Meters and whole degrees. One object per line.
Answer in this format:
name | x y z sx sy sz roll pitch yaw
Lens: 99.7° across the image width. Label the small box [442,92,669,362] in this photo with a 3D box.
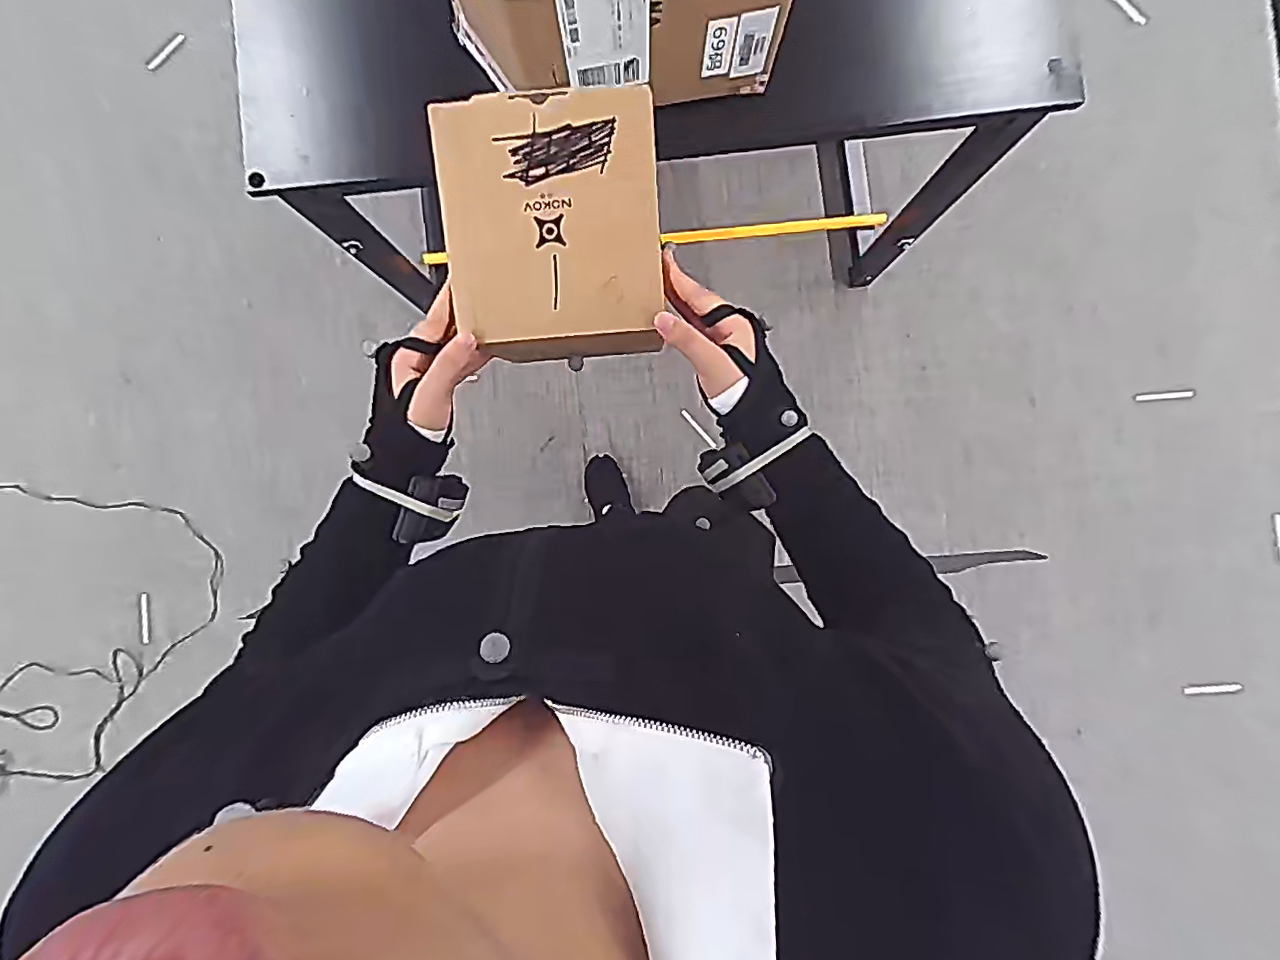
small box | -0.062 -0.208 0.492 0.168 0.176 0.179 -4 97 2
